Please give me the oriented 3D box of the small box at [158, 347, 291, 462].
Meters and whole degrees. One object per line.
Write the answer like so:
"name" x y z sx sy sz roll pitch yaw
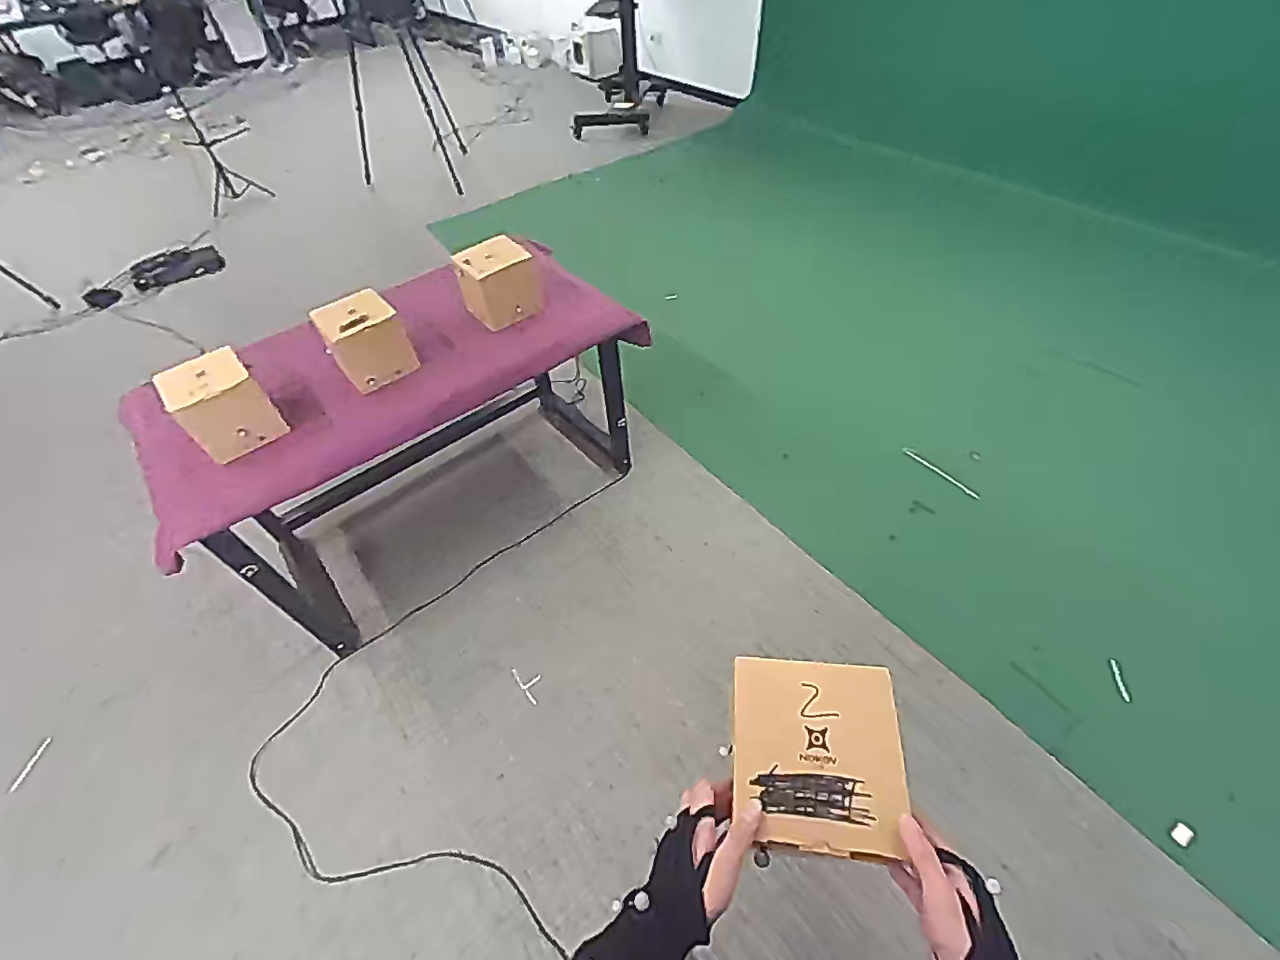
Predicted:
"small box" -0.963 -0.174 1.262 0.168 0.176 0.179 -36 56 -23

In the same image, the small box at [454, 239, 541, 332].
"small box" -0.398 -0.555 1.546 0.179 0.176 0.168 -33 55 -22

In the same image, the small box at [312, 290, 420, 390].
"small box" -0.701 -0.356 1.399 0.168 0.176 0.179 -34 55 -23
